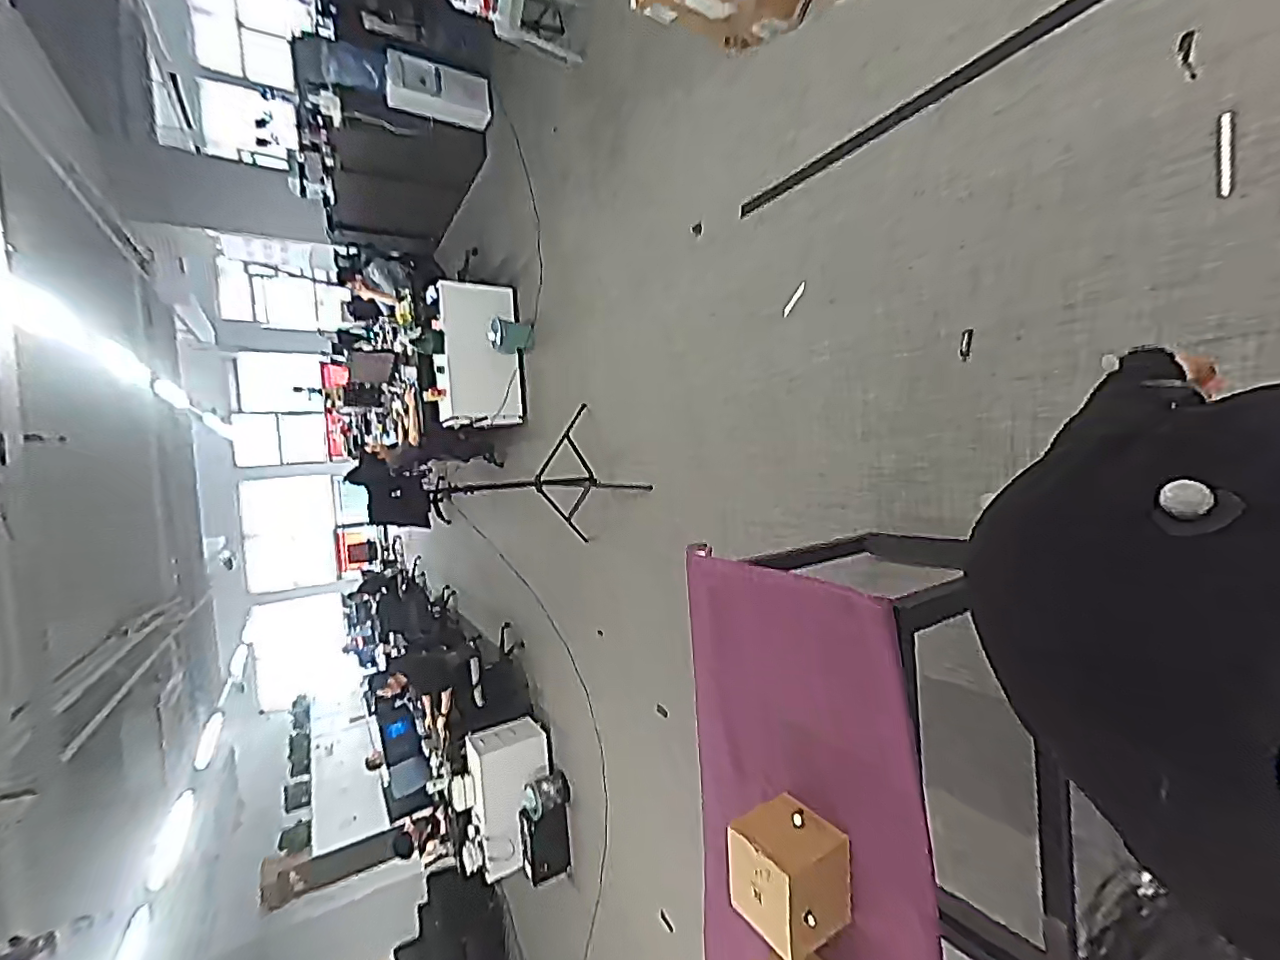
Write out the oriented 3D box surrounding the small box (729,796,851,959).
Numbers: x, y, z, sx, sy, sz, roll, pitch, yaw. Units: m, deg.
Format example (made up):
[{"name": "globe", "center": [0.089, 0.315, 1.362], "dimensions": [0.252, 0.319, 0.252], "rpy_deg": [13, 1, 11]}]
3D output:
[{"name": "small box", "center": [0.295, 0.771, 1.063], "dimensions": [0.168, 0.176, 0.179], "rpy_deg": [5, 99, 58]}]
